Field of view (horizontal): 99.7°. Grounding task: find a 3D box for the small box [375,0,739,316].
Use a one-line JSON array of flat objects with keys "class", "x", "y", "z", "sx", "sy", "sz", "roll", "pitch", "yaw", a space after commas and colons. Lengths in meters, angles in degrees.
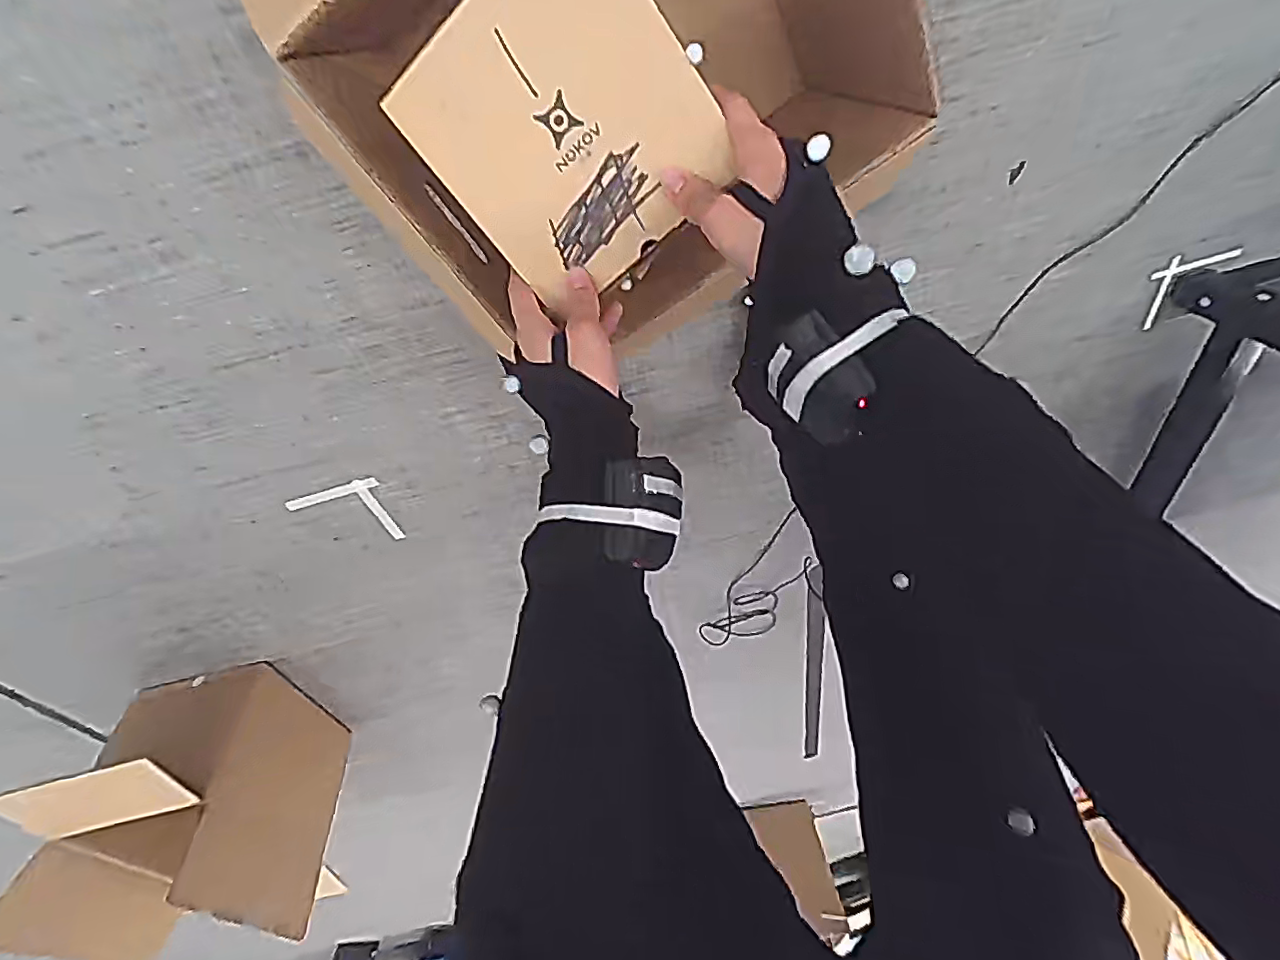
[{"class": "small box", "x": -0.045, "y": -0.258, "z": 0.409, "sx": 0.168, "sy": 0.176, "sz": 0.179, "roll": -35, "pitch": 109, "yaw": 19}]
